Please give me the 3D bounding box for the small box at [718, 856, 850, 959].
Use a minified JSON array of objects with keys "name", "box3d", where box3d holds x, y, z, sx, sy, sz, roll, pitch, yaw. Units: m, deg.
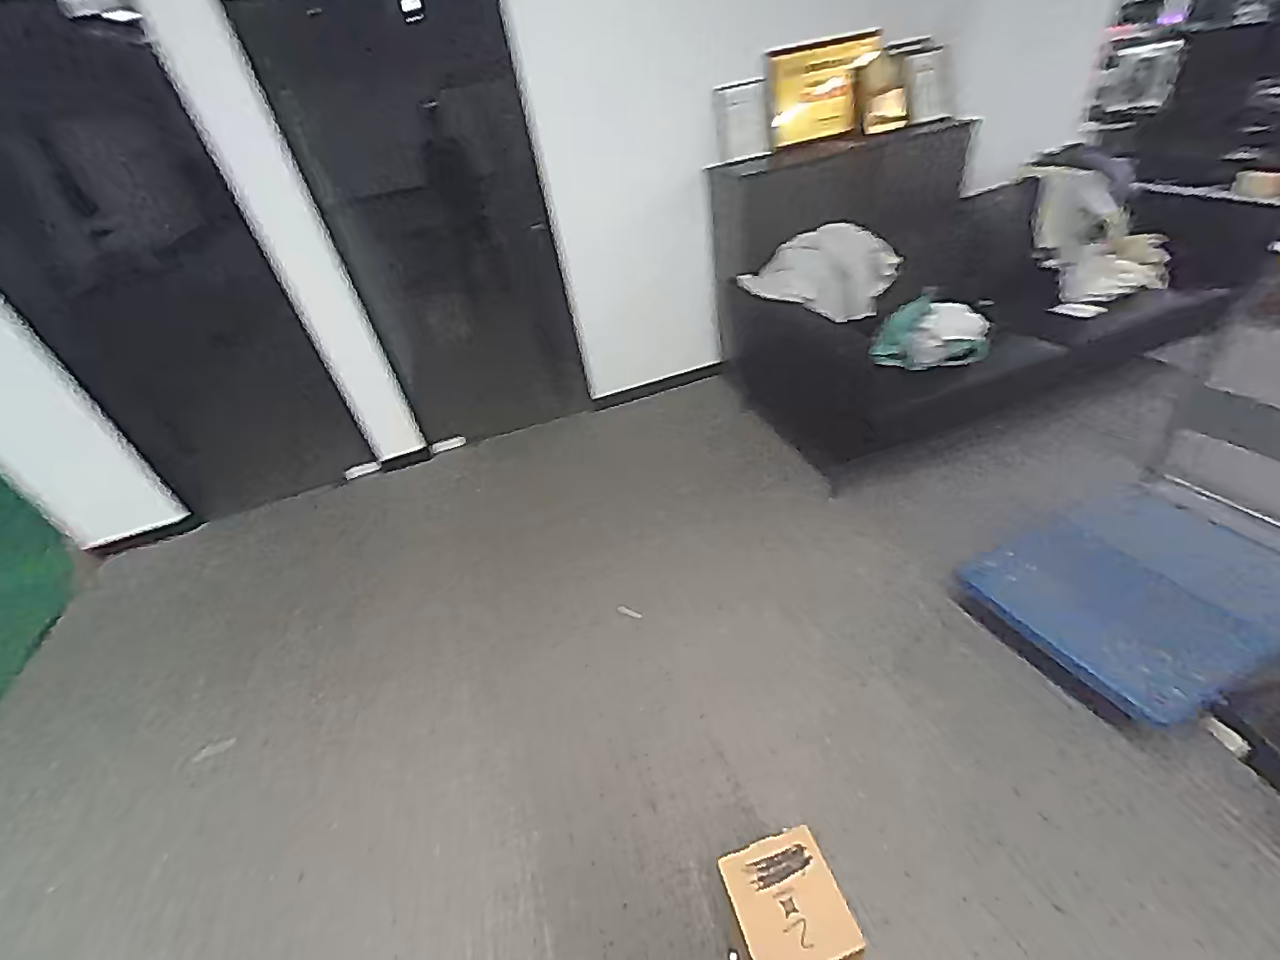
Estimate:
[{"name":"small box","box3d":[0.257,0.838,0.990,0.179,0.176,0.168,-16,38,-8]}]
